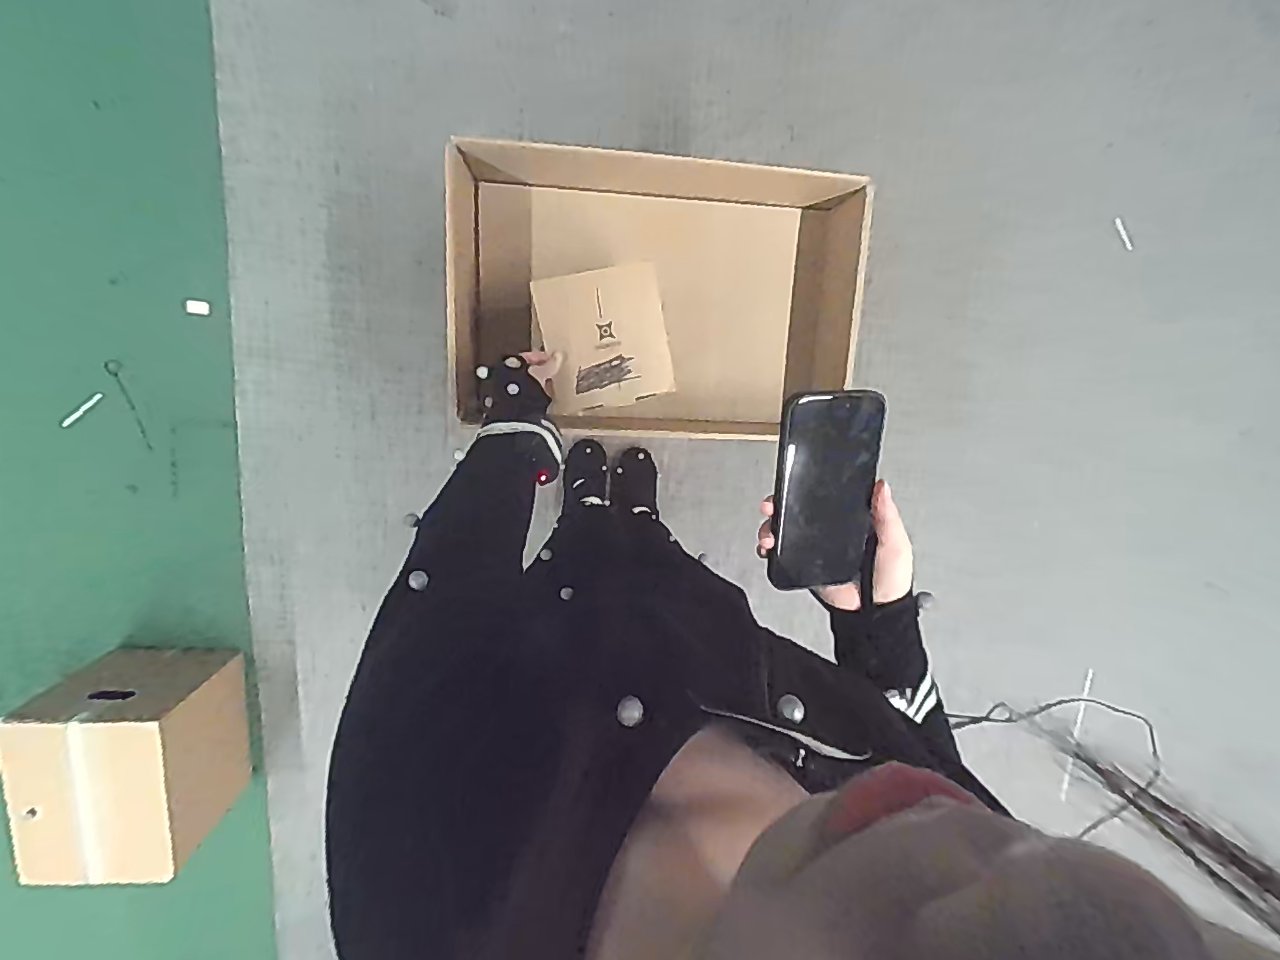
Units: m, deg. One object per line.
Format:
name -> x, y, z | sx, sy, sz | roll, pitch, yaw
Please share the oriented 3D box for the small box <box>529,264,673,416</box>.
small box -> -0.060, -0.197, 0.794 | 0.168, 0.176, 0.179 | -13, 99, -7
